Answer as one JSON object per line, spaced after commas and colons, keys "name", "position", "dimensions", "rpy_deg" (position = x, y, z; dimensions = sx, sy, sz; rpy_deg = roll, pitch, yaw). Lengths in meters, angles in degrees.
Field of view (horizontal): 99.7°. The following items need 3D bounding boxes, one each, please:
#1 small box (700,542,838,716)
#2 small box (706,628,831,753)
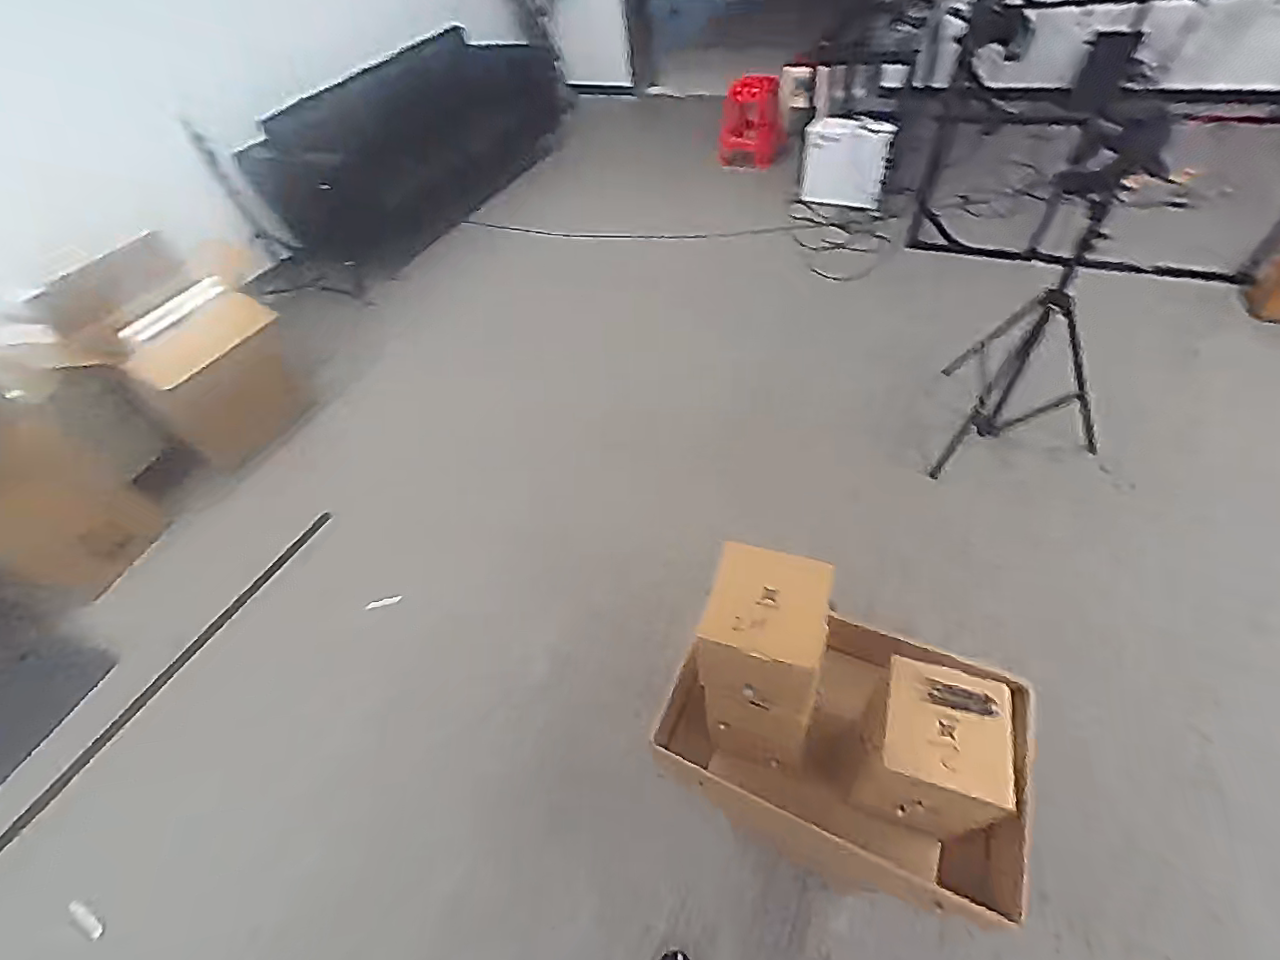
{"name": "small box", "position": [0.196, 0.229, 0.832], "dimensions": [0.168, 0.176, 0.179], "rpy_deg": [12, 51, 19]}
{"name": "small box", "position": [0.224, 0.346, 0.946], "dimensions": [0.168, 0.176, 0.179], "rpy_deg": [14, 51, 20]}
